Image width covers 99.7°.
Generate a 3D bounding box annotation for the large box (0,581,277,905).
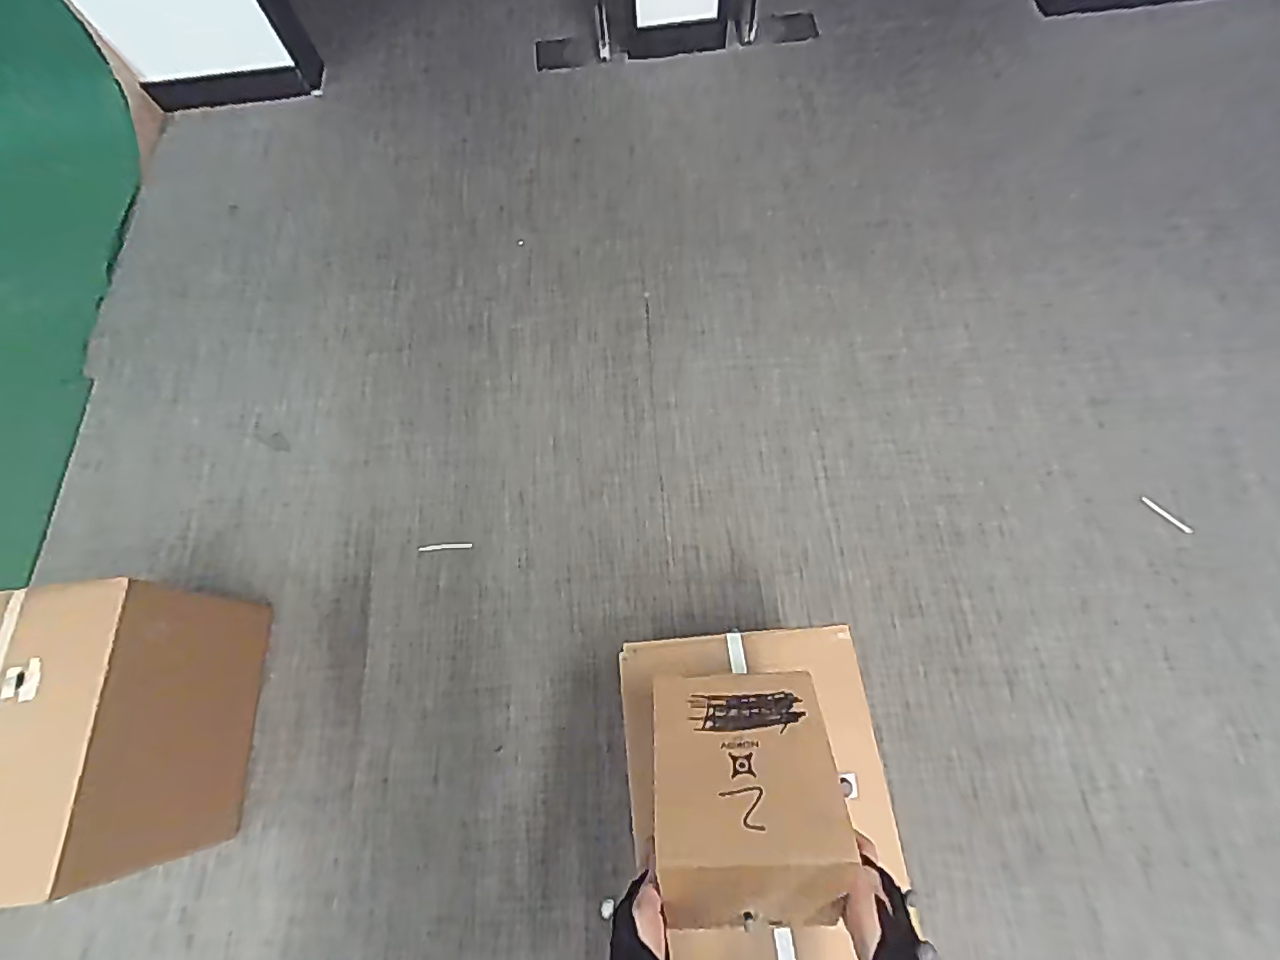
[{"bbox_3d":[-0.865,0.407,0.882,0.320,0.320,0.408,-6,68,2],"label":"large box"}]
